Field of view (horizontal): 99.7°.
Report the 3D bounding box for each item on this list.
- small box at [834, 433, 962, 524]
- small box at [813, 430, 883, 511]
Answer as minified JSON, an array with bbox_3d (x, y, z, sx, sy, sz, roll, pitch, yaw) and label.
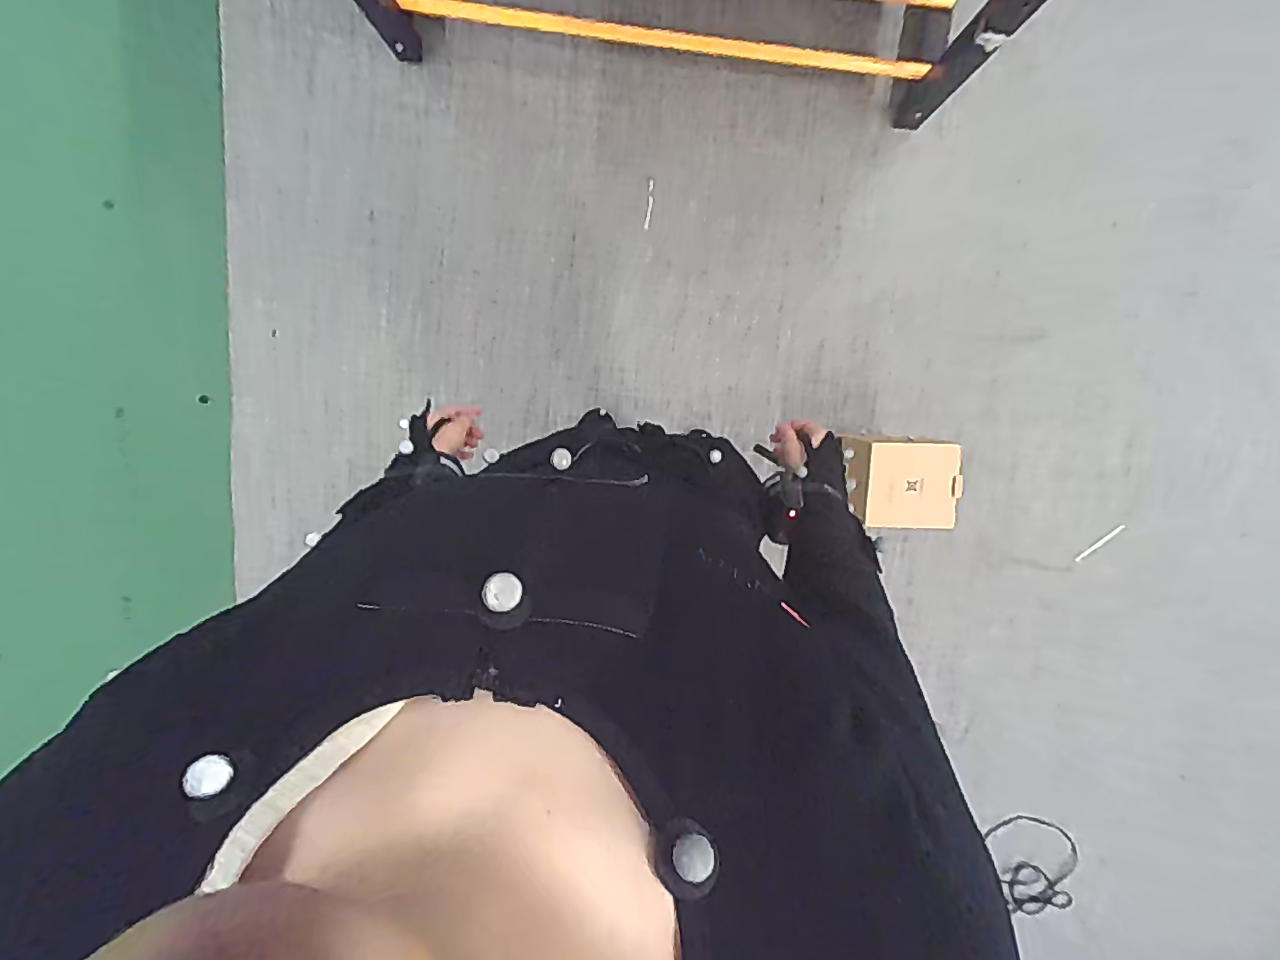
[{"bbox_3d":[0.519,-0.009,1.108,0.179,0.176,0.168,1,99,1],"label":"small box"},{"bbox_3d":[0.514,-0.026,1.271,0.168,0.176,0.179,1,99,1],"label":"small box"}]
